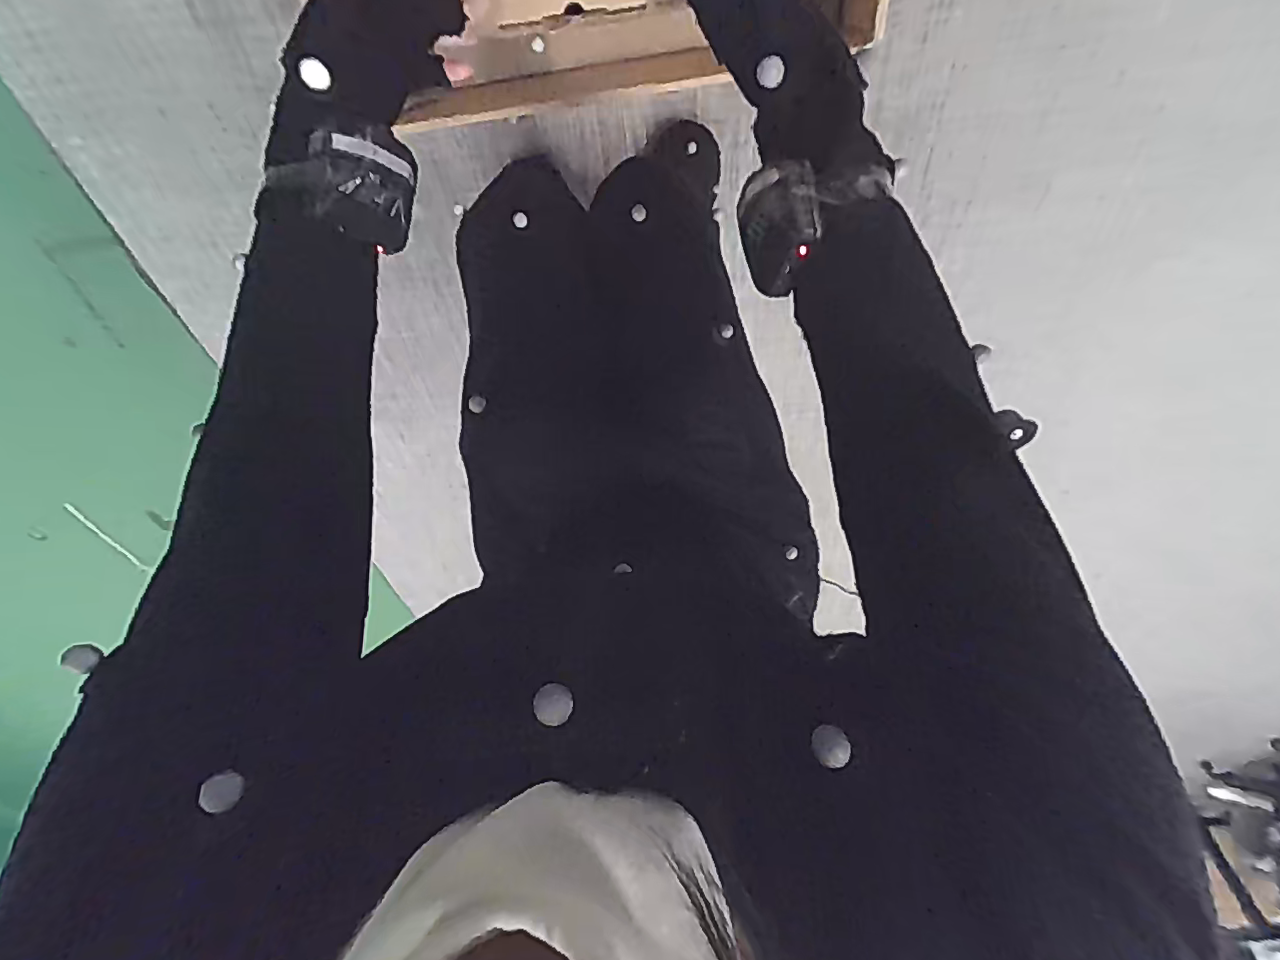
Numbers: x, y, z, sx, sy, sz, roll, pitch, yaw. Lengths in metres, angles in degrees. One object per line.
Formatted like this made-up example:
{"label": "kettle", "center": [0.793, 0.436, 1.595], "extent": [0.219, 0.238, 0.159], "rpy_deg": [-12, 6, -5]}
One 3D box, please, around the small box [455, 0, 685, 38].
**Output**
{"label": "small box", "center": [-0.052, -0.441, 0.391], "extent": [0.168, 0.176, 0.179], "rpy_deg": [-4, 128, 5]}
